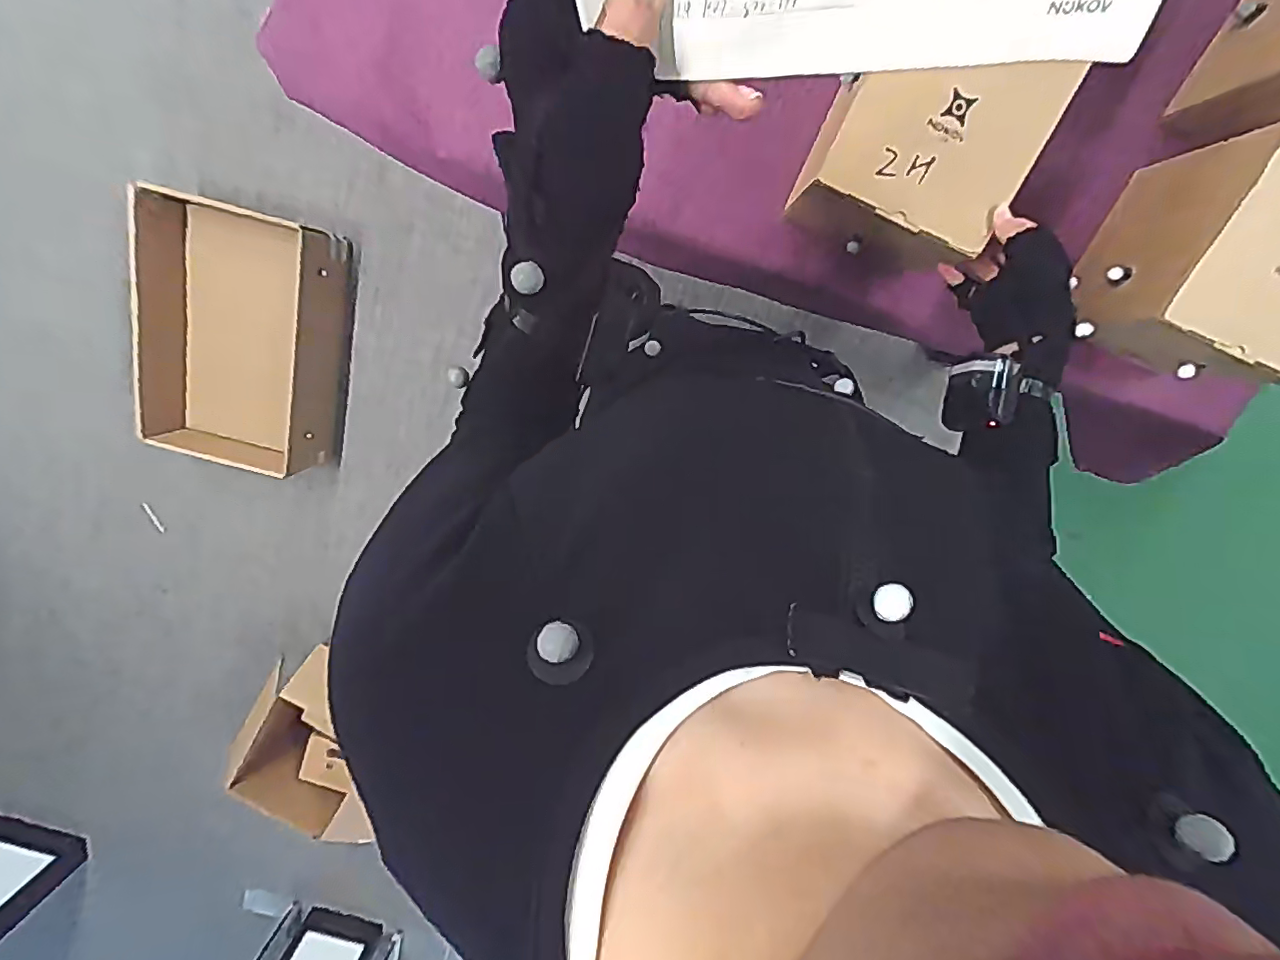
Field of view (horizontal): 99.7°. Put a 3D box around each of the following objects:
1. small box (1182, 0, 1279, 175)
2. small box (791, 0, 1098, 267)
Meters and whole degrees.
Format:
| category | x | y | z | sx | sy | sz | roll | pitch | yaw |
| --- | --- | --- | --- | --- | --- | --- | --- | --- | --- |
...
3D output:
| category | x | y | z | sx | sy | sz | roll | pitch | yaw |
| --- | --- | --- | --- | --- | --- | --- | --- | --- | --- |
| small box | 0.659 | -0.404 | 0.481 | 0.168 | 0.176 | 0.179 | 25 | 108 | -4 |
| small box | 0.268 | -0.332 | 0.531 | 0.168 | 0.176 | 0.179 | 24 | 106 | -3 |
